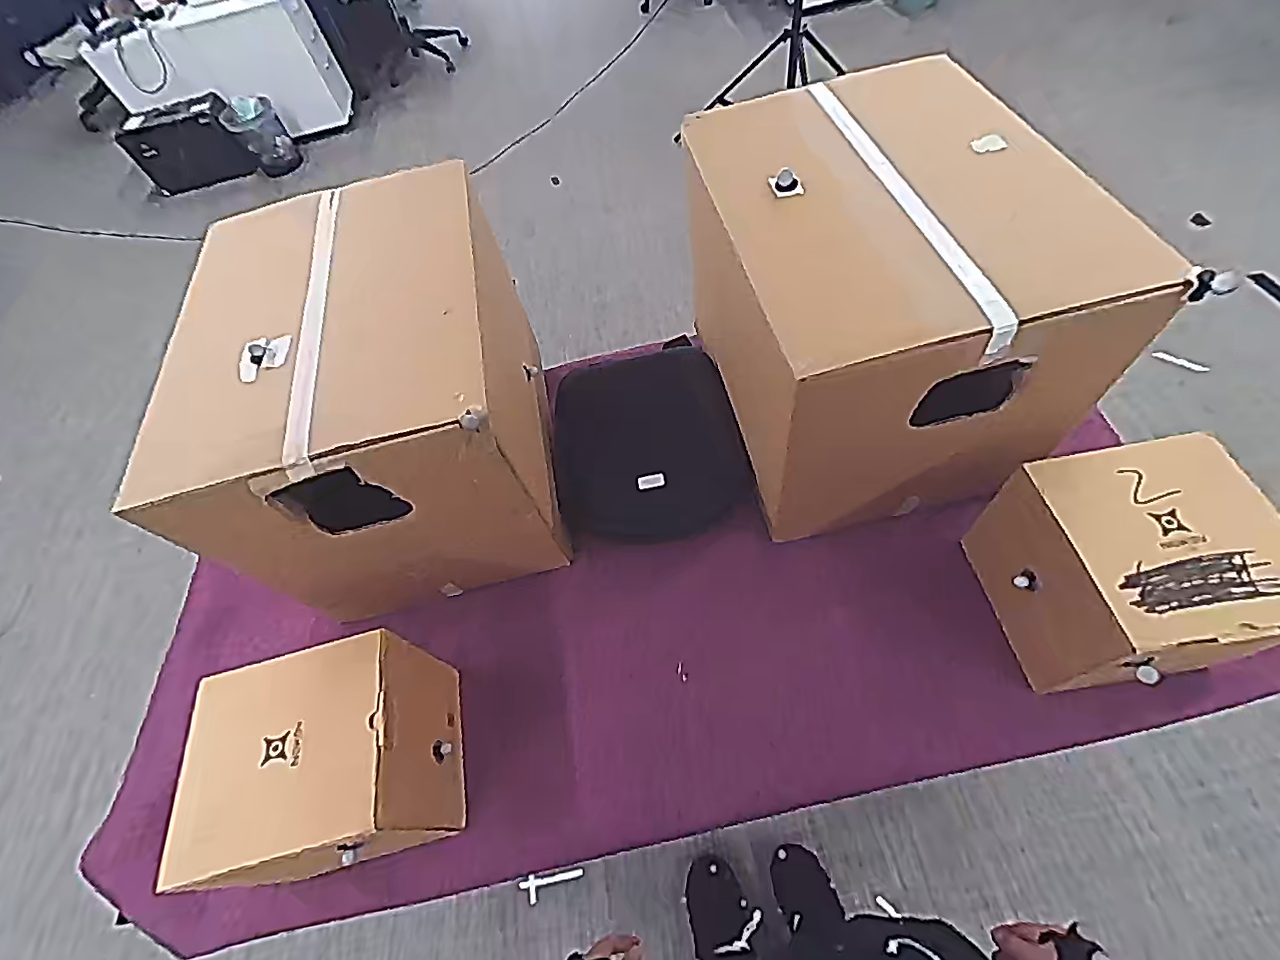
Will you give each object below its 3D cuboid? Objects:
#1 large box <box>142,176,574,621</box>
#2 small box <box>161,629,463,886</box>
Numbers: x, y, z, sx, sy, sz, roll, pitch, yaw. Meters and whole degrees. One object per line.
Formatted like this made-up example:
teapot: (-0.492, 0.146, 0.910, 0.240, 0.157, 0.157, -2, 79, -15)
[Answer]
large box: (-0.293, -0.090, 0.672, 0.320, 0.320, 0.408, -16, 59, 0)
small box: (-0.293, 0.271, 0.527, 0.179, 0.176, 0.168, -16, 56, -2)
